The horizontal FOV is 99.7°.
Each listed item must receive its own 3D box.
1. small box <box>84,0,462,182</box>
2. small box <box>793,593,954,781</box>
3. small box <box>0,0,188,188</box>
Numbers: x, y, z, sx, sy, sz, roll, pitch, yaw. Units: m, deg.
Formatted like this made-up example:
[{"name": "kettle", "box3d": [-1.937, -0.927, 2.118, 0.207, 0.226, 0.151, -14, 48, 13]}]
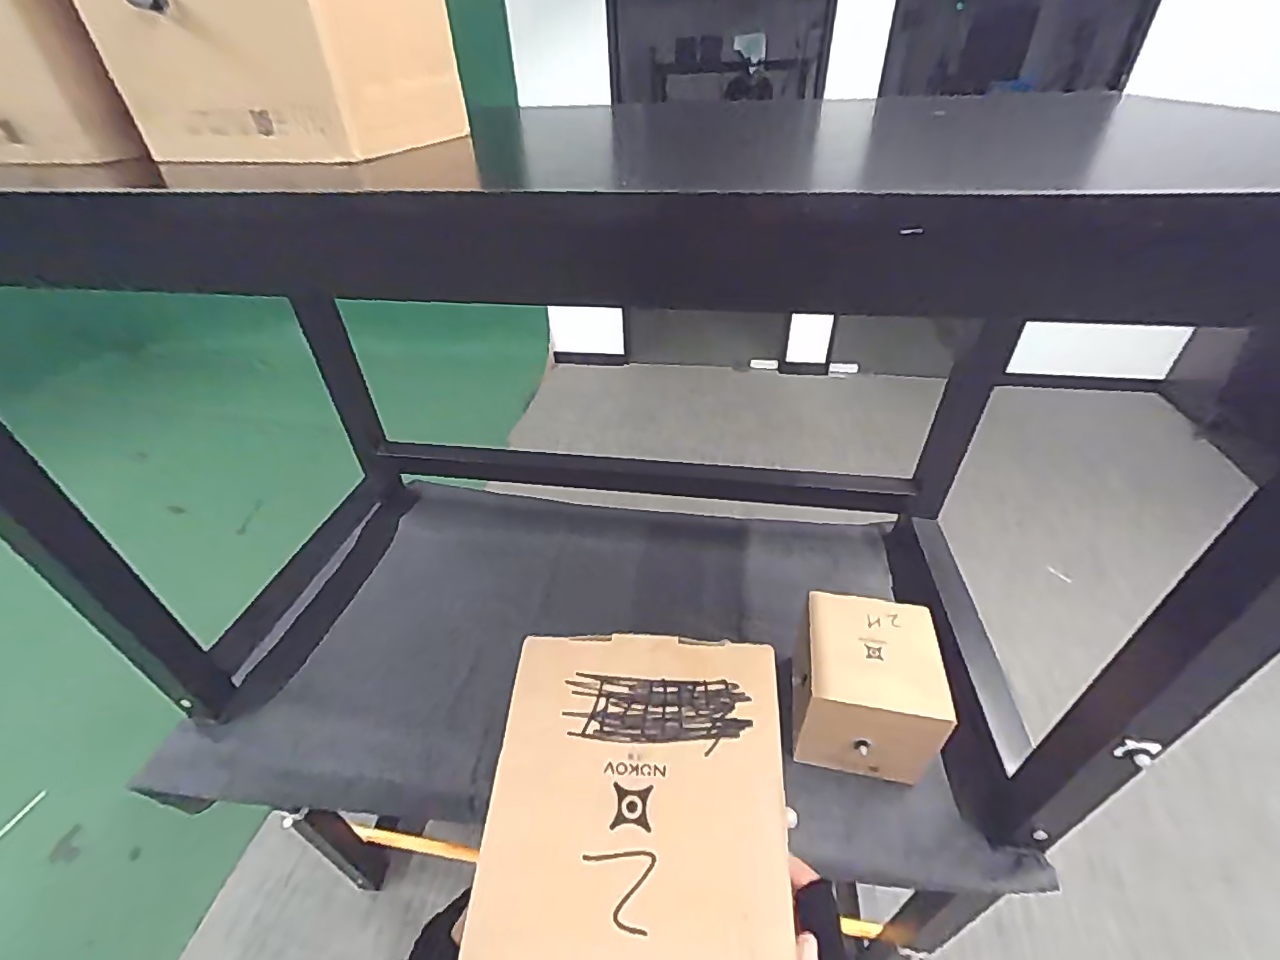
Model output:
[{"name": "small box", "box3d": [-0.254, -0.326, 0.398, 0.168, 0.176, 0.179, 6, 38, 10]}, {"name": "small box", "box3d": [0.312, 0.290, 0.760, 0.168, 0.176, 0.179, 7, 38, 11]}, {"name": "small box", "box3d": [-0.448, -0.340, 0.423, 0.168, 0.176, 0.179, 5, 39, 9]}]
